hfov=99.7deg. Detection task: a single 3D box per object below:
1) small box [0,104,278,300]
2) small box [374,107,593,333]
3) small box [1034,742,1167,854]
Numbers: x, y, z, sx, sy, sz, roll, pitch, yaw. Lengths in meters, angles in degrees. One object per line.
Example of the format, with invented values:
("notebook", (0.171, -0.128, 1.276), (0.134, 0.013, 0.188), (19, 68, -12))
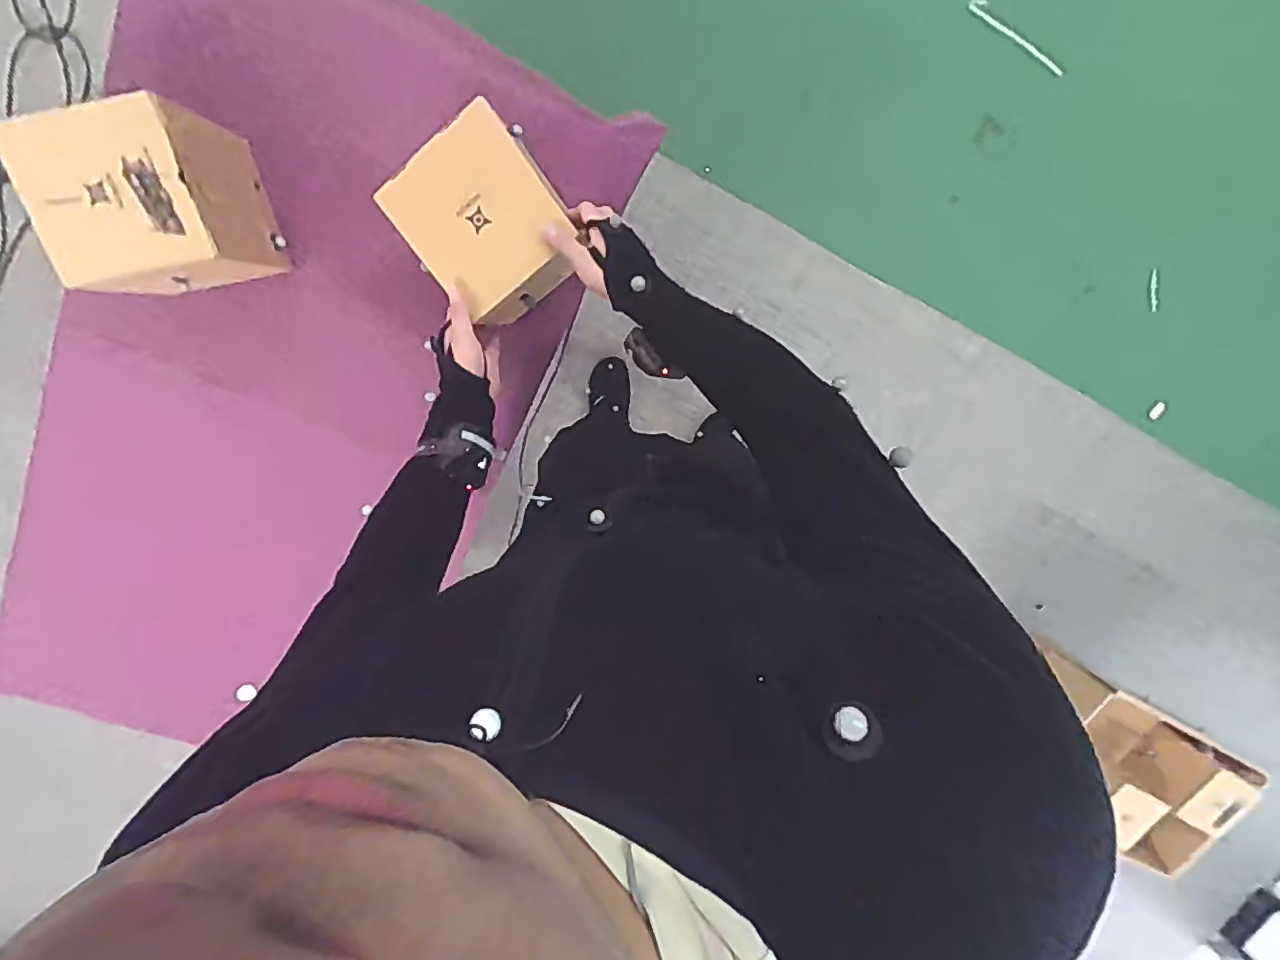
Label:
("small box", (-0.581, -0.319, 0.654), (0.179, 0.176, 0.168), (-12, 107, -1))
("small box", (-0.178, -0.307, 0.679), (0.168, 0.176, 0.179), (-34, 100, 12))
("small box", (1.220, 0.840, 1.447), (0.179, 0.176, 0.168), (29, 102, -11))
